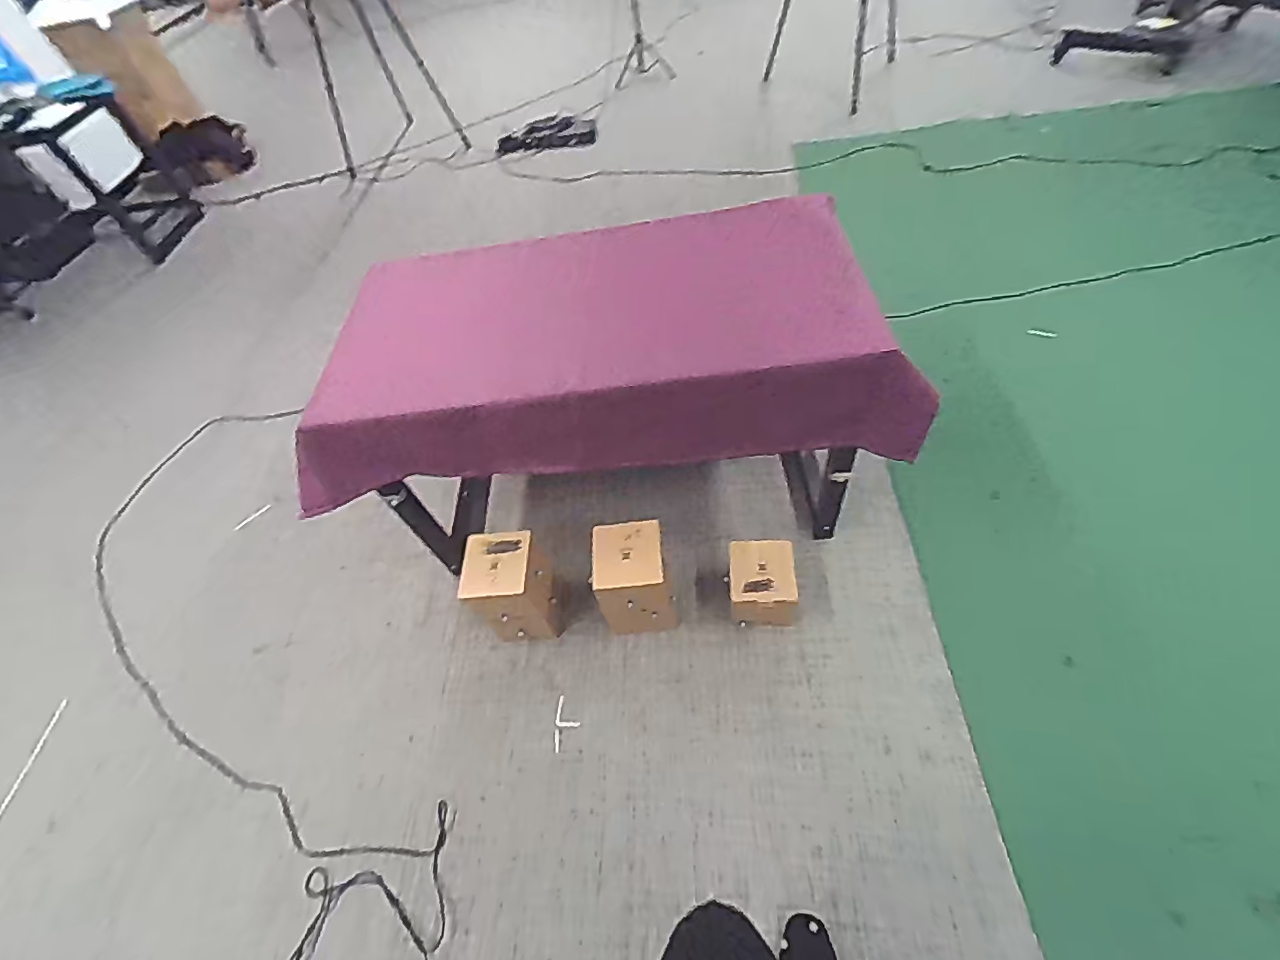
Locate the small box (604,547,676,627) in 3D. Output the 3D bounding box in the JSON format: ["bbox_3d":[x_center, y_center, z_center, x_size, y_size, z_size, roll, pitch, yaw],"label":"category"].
[{"bbox_3d":[0.003,0.304,1.511,0.179,0.176,0.168,-5,54,6],"label":"small box"}]
